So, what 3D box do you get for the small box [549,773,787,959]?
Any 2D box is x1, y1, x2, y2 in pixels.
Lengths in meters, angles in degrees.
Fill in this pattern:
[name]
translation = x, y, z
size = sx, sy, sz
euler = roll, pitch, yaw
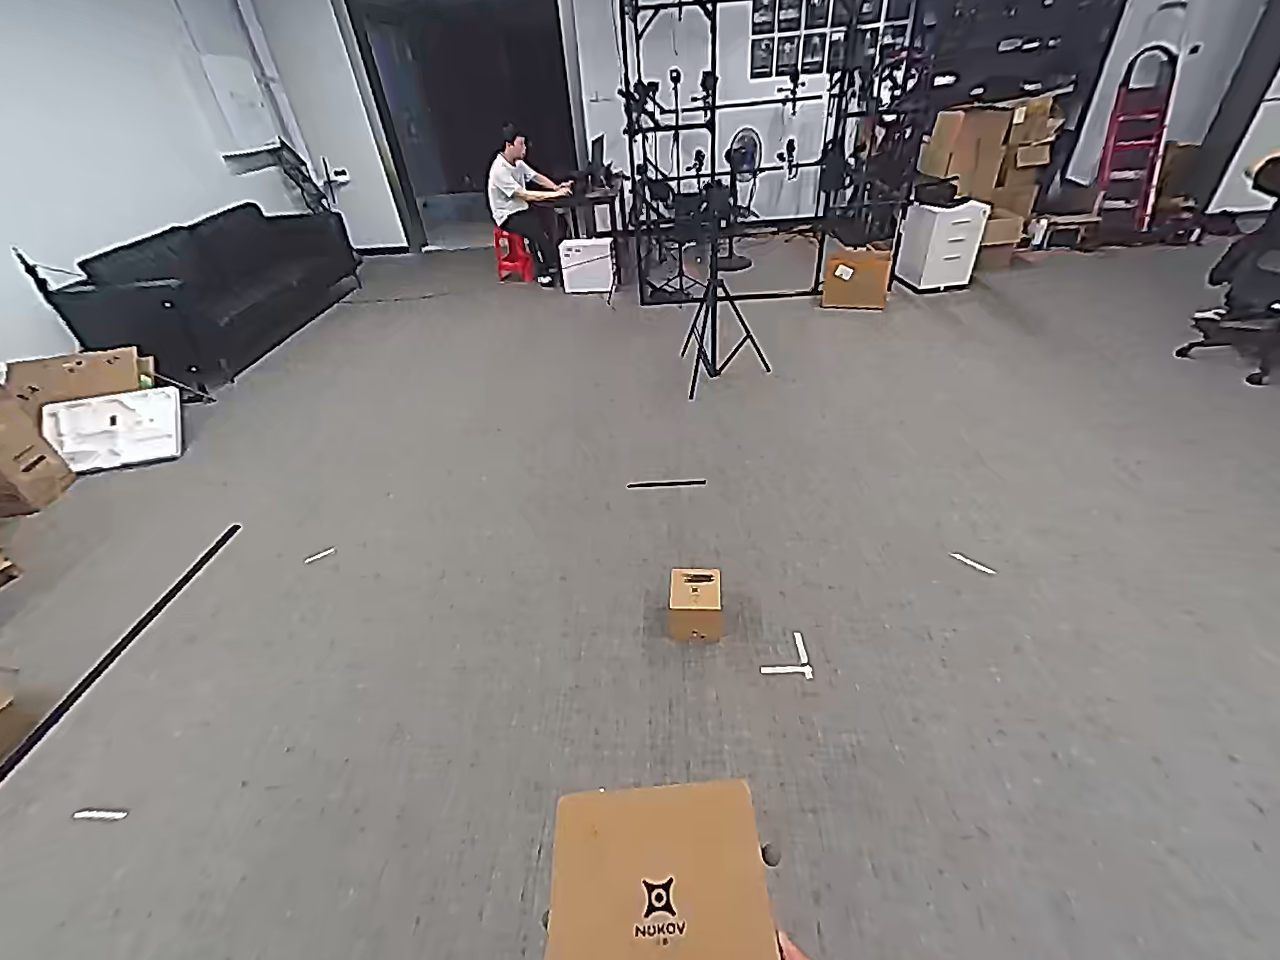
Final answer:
[small box]
translation = 0.027, 0.370, 0.440
size = 0.168, 0.176, 0.179
euler = -7, 38, 4
